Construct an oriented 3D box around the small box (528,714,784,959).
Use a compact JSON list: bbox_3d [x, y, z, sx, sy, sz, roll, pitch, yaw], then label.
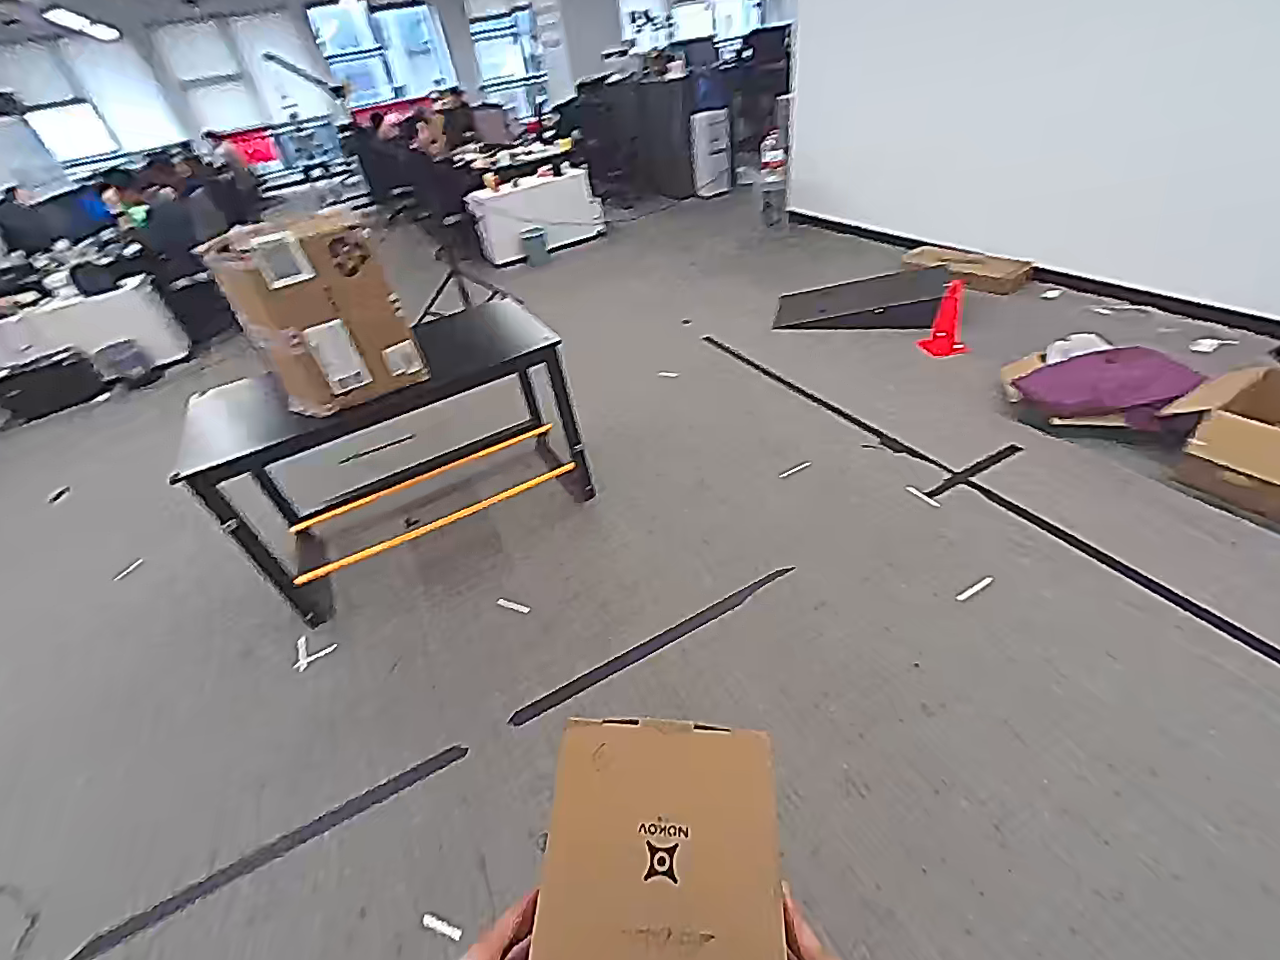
[{"bbox_3d":[0.016,0.312,0.441,0.168,0.176,0.179,2,51,4],"label":"small box"}]
